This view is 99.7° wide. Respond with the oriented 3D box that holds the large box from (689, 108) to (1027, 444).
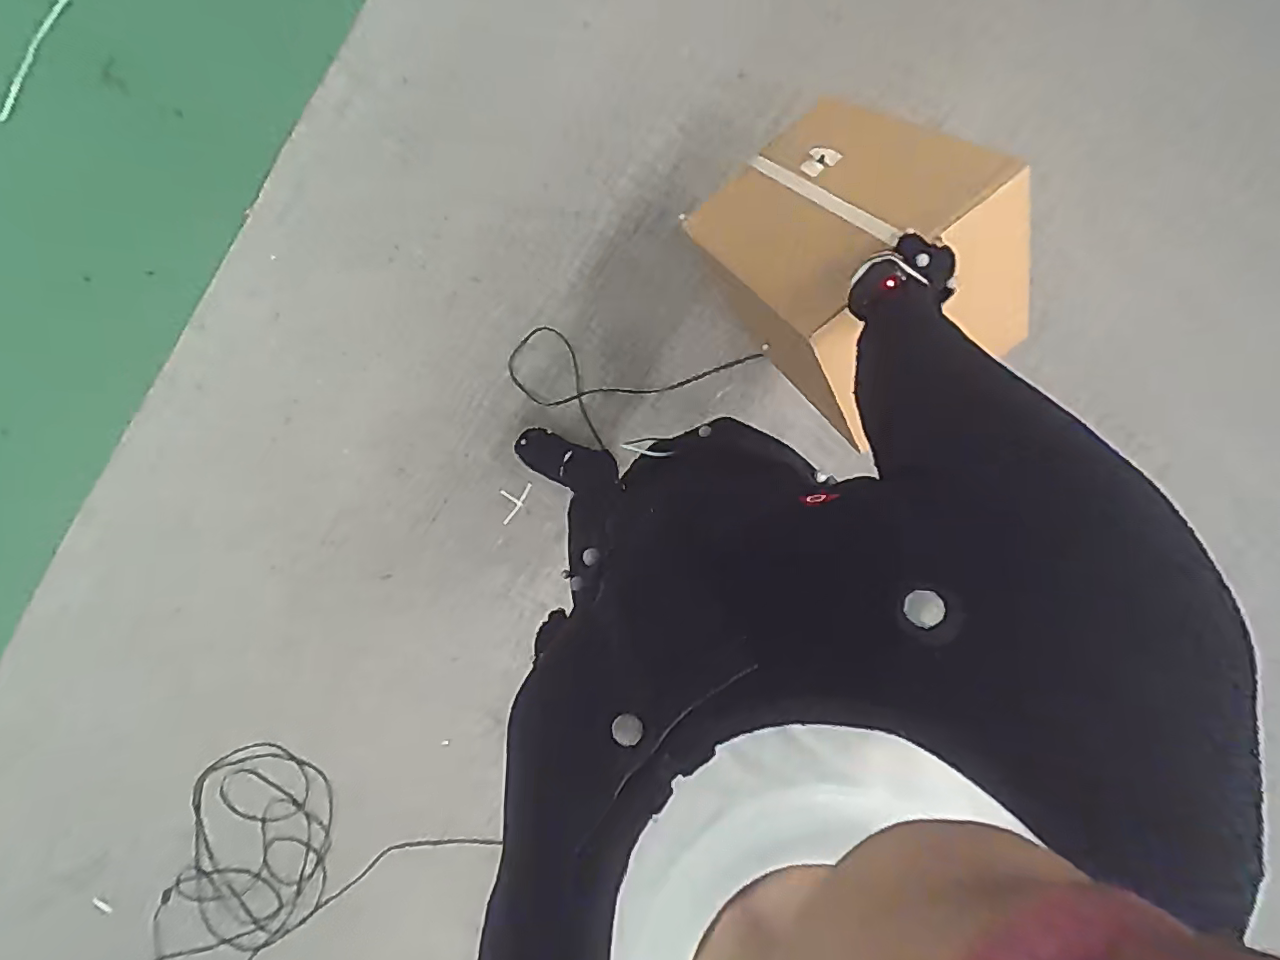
[{"bbox_3d":[0.351,-0.339,0.909,0.320,0.408,0.320,-37,137,11],"label":"large box"}]
